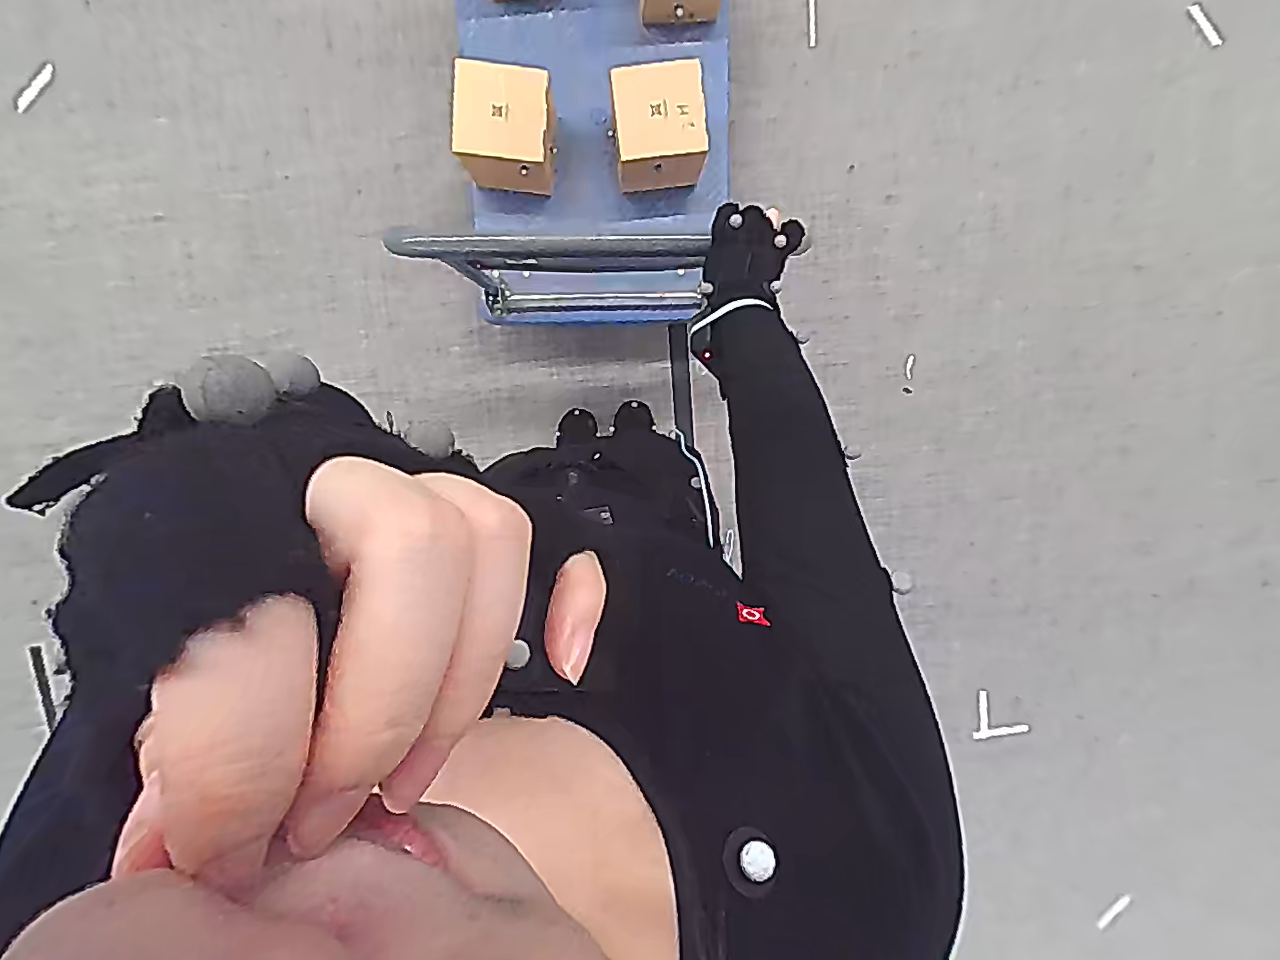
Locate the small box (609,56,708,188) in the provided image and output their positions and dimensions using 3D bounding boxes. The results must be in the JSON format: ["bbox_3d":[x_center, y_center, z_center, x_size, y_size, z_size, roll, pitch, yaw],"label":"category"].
[{"bbox_3d":[0.034,-0.718,1.104,0.179,0.176,0.168,-7,100,-1],"label":"small box"}]

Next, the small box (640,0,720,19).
[{"bbox_3d":[0.080,-1.051,1.051,0.168,0.176,0.179,-5,100,-1],"label":"small box"}]

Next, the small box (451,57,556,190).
[{"bbox_3d":[-0.269,-0.708,1.094,0.179,0.176,0.168,4,99,-4],"label":"small box"}]
